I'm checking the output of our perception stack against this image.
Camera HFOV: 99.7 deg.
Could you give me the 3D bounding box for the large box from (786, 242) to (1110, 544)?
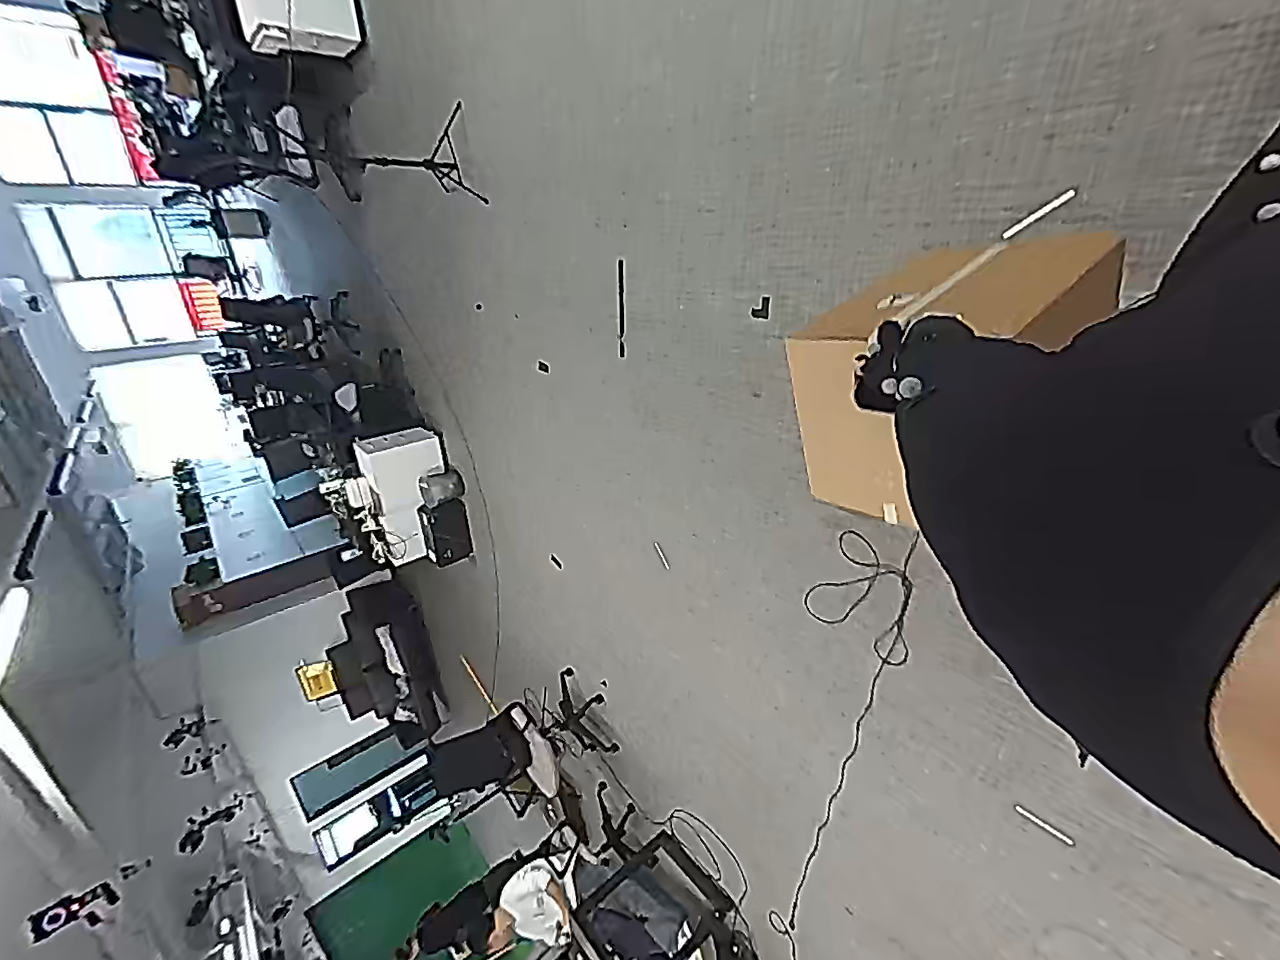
[{"bbox_3d":[0.508,-0.160,0.897,0.320,0.408,0.320,18,135,51],"label":"large box"}]
